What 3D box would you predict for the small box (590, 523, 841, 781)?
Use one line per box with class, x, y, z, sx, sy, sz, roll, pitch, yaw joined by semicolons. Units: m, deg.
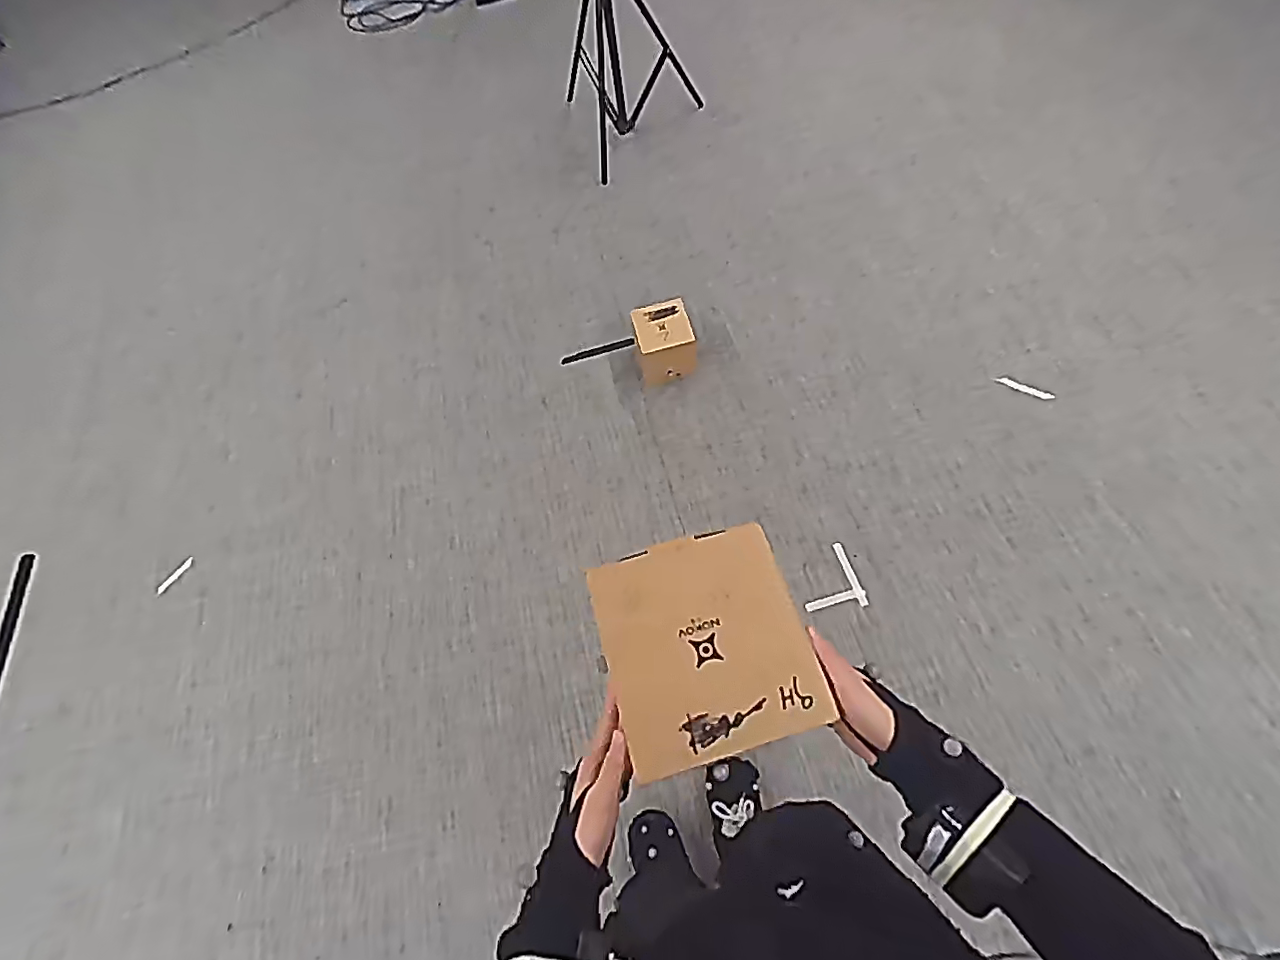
small box;0.057;0.168;0.514;0.168;0.176;0.179;-15;63;-5
